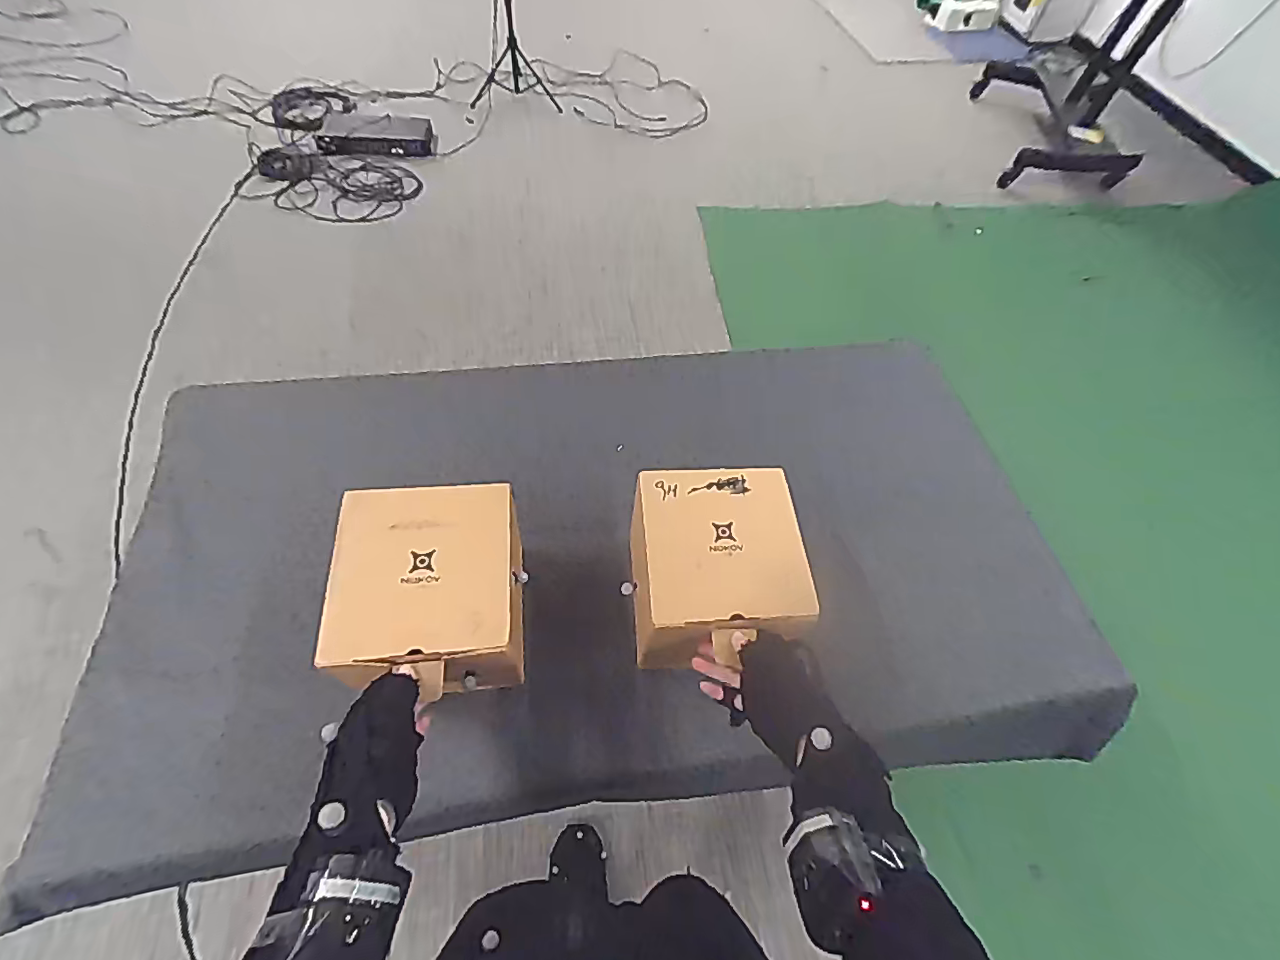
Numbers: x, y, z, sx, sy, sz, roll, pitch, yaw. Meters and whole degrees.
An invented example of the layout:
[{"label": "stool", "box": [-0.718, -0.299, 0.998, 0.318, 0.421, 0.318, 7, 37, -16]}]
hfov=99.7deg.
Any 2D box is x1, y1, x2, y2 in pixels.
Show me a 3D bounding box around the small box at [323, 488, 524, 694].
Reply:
[{"label": "small box", "box": [-0.219, 0.129, 0.595, 0.168, 0.176, 0.179, -4, 59, -10]}]
